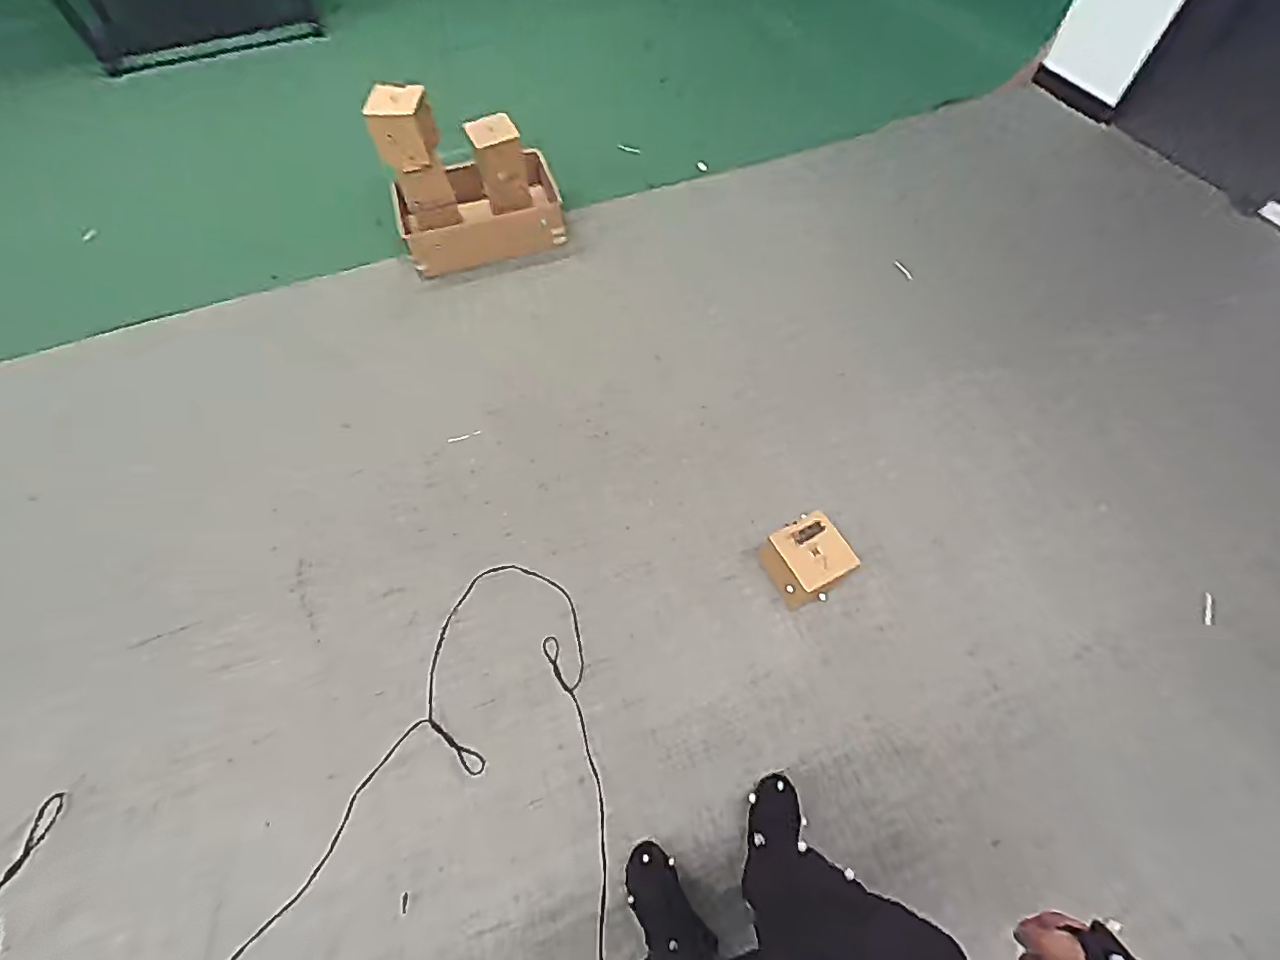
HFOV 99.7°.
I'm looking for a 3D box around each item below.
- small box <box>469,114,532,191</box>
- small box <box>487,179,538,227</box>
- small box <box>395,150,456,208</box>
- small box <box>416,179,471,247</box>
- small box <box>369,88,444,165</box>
[{"bbox_3d":[-0.526,-1.241,2.055,0.168,0.176,0.179,-24,65,-9],"label":"small box"},{"bbox_3d":[-0.521,-1.164,2.199,0.168,0.176,0.179,-15,61,-6],"label":"small box"},{"bbox_3d":[-0.793,-1.131,1.995,0.168,0.176,0.179,-18,61,-10],"label":"small box"},{"bbox_3d":[-0.789,-1.060,2.143,0.168,0.176,0.179,-20,62,-9],"label":"small box"},{"bbox_3d":[-0.791,-1.206,1.851,0.168,0.176,0.179,1,60,1],"label":"small box"}]
